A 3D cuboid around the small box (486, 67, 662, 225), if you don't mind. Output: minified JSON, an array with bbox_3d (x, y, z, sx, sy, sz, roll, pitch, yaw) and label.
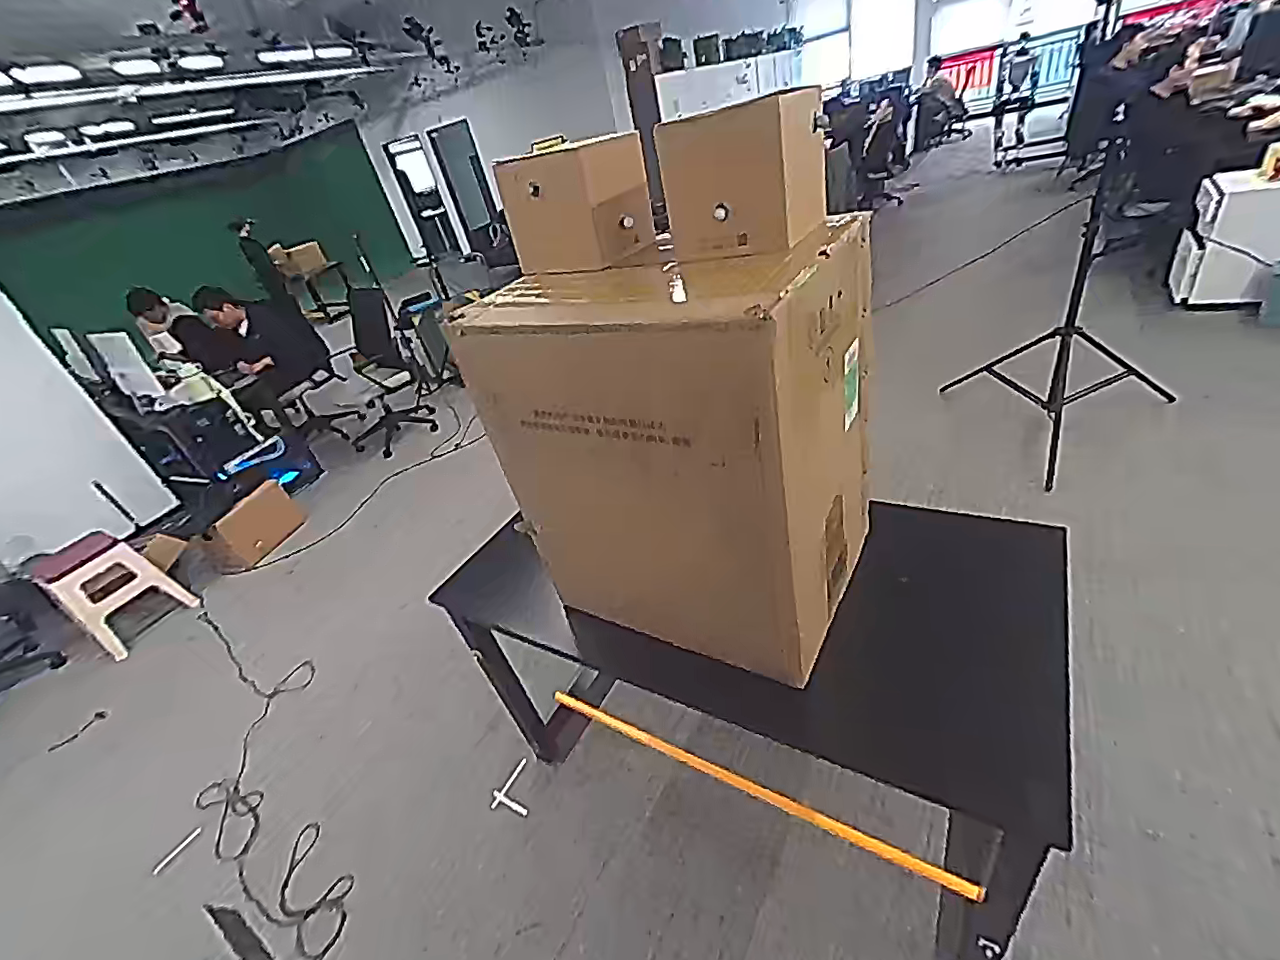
[{"bbox_3d":[-0.089,-0.486,0.798,0.179,0.176,0.168,12,41,31],"label":"small box"}]

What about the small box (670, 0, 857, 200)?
[{"bbox_3d":[0.157,-0.452,0.654,0.168,0.176,0.179,7,38,32],"label":"small box"}]
